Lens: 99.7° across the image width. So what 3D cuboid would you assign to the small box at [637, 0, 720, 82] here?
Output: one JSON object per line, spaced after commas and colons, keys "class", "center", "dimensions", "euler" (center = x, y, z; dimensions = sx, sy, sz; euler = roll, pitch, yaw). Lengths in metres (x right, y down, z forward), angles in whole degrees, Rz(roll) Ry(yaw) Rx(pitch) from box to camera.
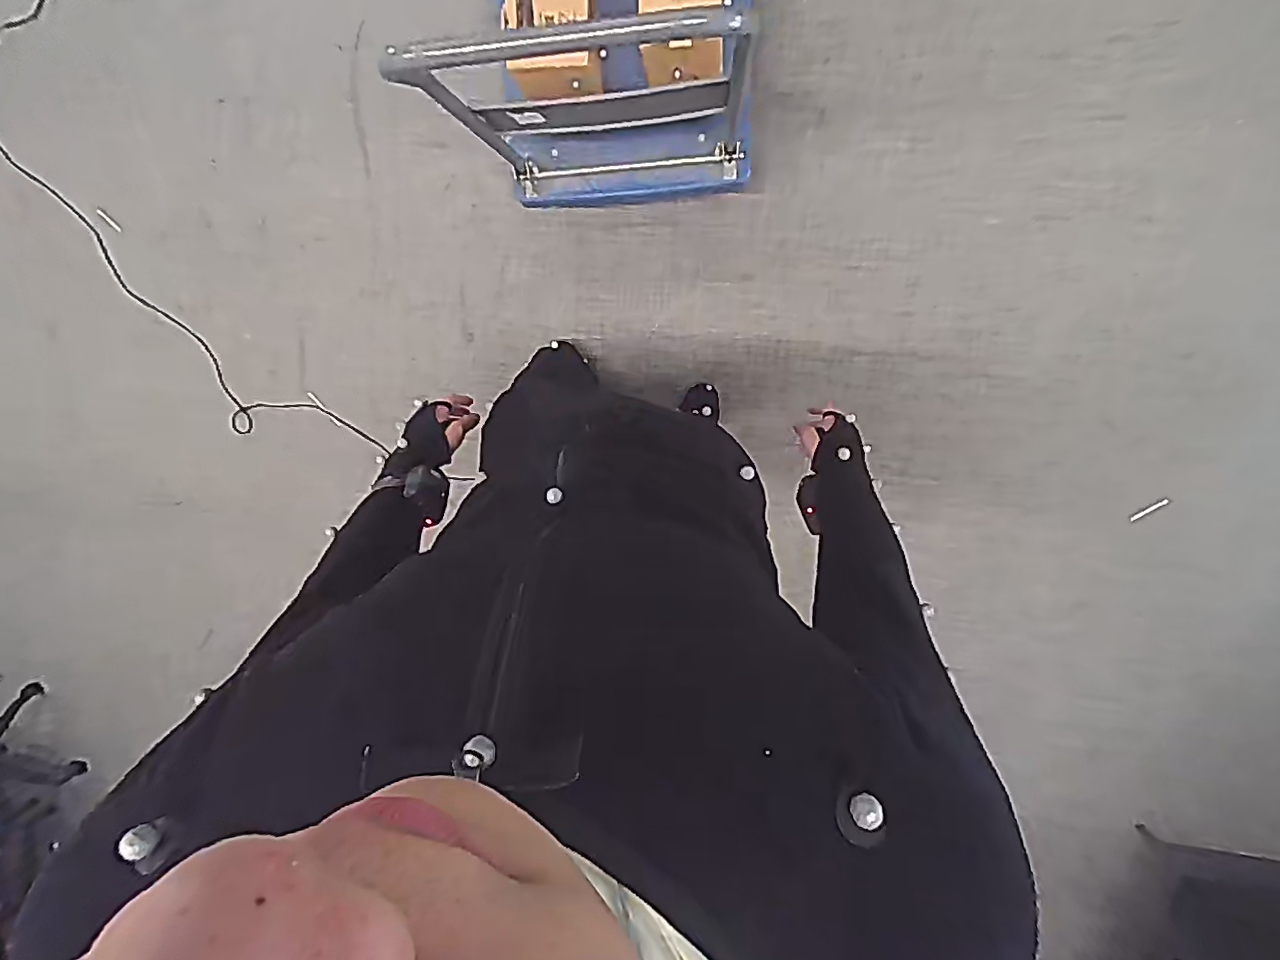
{"class": "small box", "center": [0.083, -0.970, 1.123], "dimensions": [0.168, 0.176, 0.179], "euler": [0, 104, 8]}
